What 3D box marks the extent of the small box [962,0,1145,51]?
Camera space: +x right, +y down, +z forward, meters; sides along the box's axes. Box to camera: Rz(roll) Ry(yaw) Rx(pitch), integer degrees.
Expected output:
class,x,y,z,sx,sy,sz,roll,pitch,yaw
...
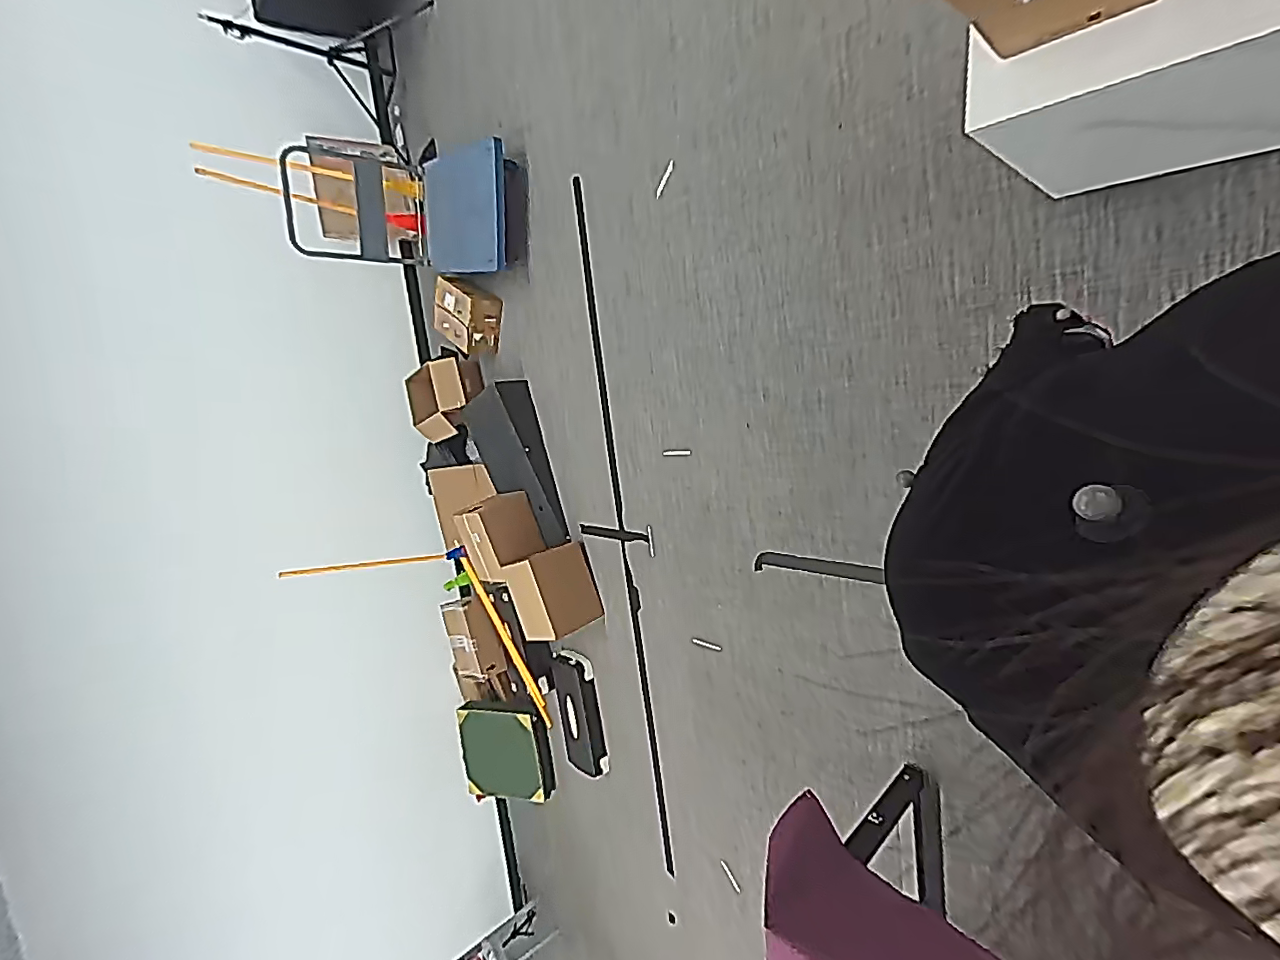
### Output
class,x,y,z,sx,sy,sz,roll,pitch,yaw
small box,0.481,-0.638,0.605,0.168,0.176,0.179,11,107,47
